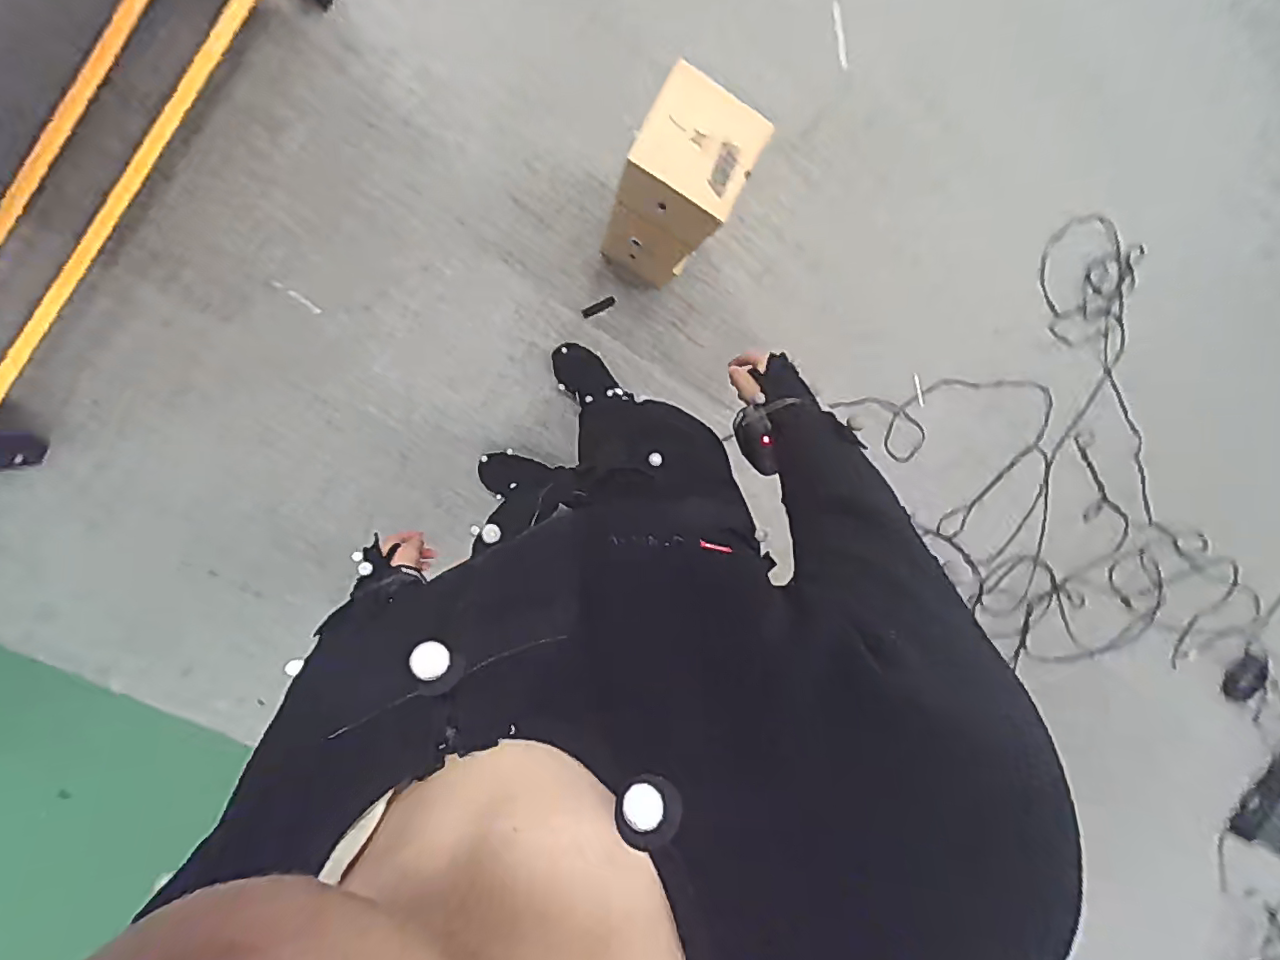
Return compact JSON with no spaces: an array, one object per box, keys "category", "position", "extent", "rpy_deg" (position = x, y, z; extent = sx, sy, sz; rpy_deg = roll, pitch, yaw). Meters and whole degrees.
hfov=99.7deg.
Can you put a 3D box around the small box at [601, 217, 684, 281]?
[{"category":"small box","position":[0.026,-0.568,1.208],"extent":[0.179,0.176,0.168],"rpy_deg":[27,94,-13]}]

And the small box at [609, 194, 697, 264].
[{"category":"small box","position":[0.049,-0.551,1.047],"extent":[0.168,0.176,0.179],"rpy_deg":[26,95,-12]}]

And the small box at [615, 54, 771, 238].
[{"category":"small box","position":[0.076,-0.525,0.886],"extent":[0.179,0.176,0.168],"rpy_deg":[27,93,-12]}]
